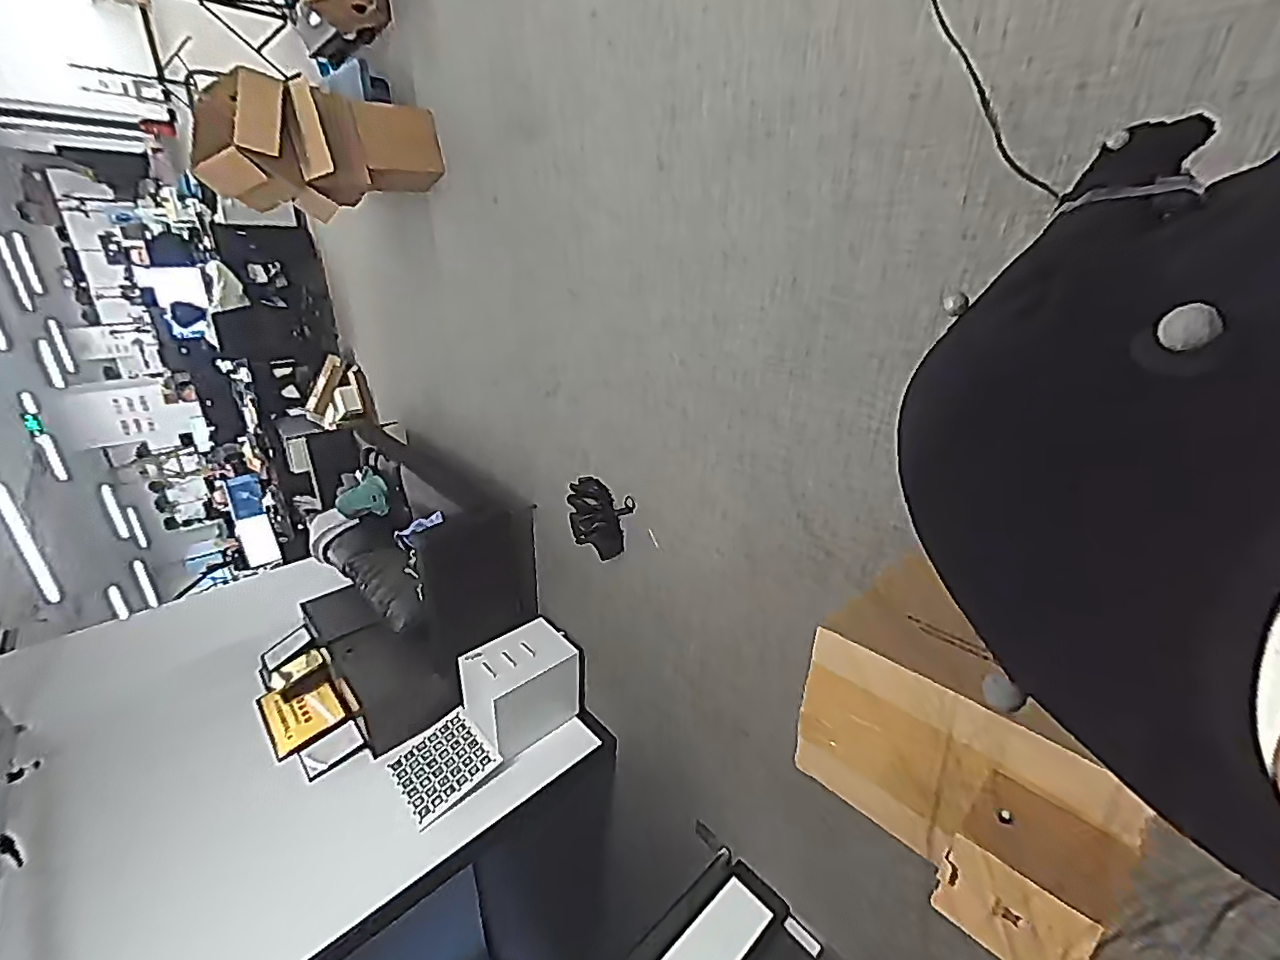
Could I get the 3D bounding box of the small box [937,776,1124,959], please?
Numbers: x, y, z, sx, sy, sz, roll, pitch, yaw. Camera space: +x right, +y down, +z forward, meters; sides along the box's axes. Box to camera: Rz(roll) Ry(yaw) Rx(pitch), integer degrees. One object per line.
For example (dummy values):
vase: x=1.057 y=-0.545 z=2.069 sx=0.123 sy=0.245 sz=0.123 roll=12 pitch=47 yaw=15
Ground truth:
small box: x=0.580 y=0.584 z=0.807 sx=0.179 sy=0.176 sz=0.168 roll=20 pitch=117 yaw=41
